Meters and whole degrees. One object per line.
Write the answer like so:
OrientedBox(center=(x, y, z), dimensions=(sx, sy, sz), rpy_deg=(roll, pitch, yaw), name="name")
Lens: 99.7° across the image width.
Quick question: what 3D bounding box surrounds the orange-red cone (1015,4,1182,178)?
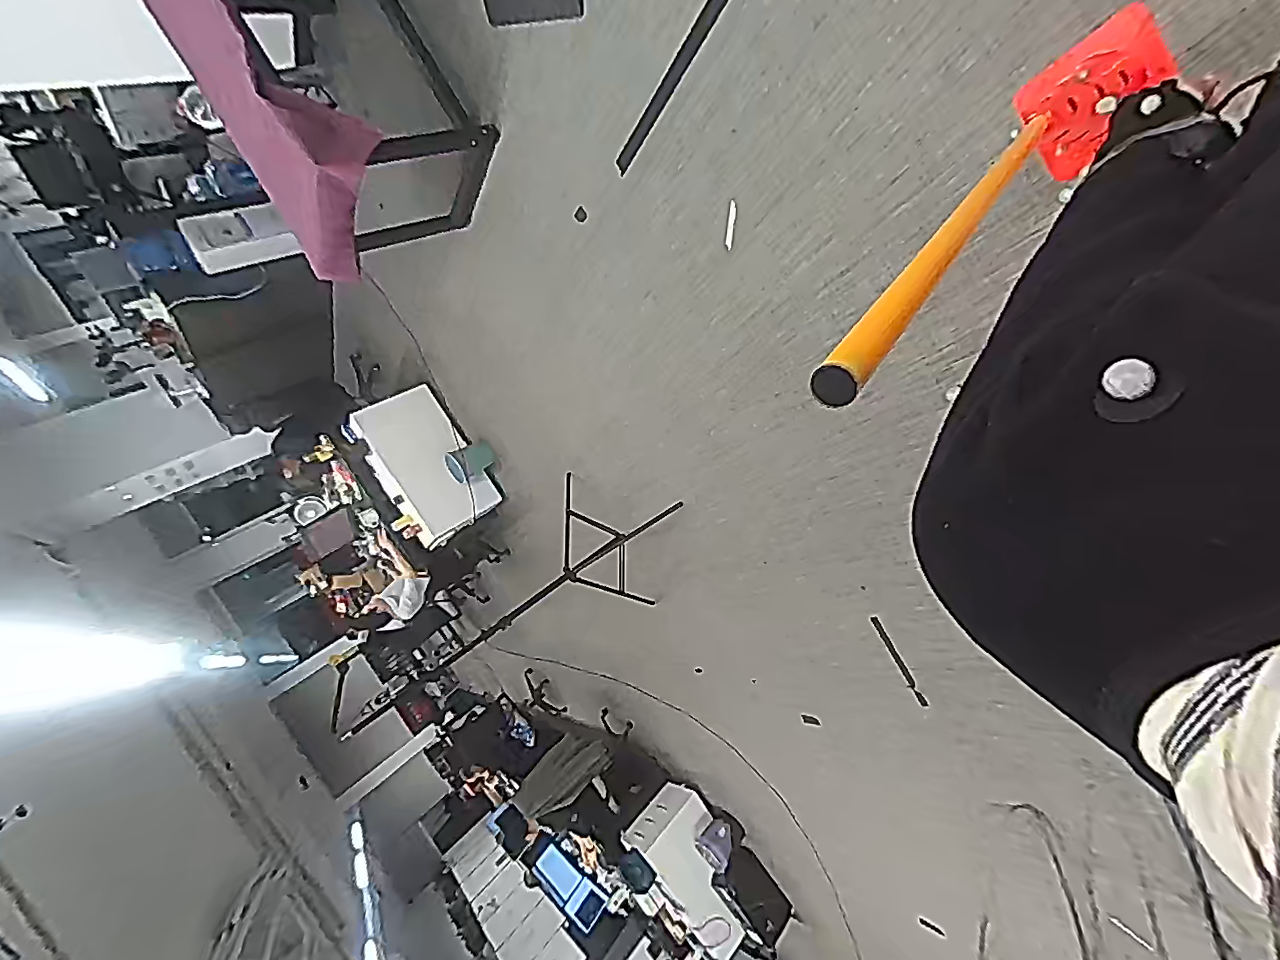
OrientedBox(center=(0.688, -0.601, 0.870), dimensions=(0.198, 0.360, 0.199), rpy_deg=(-23, 99, 56), name="orange-red cone")
